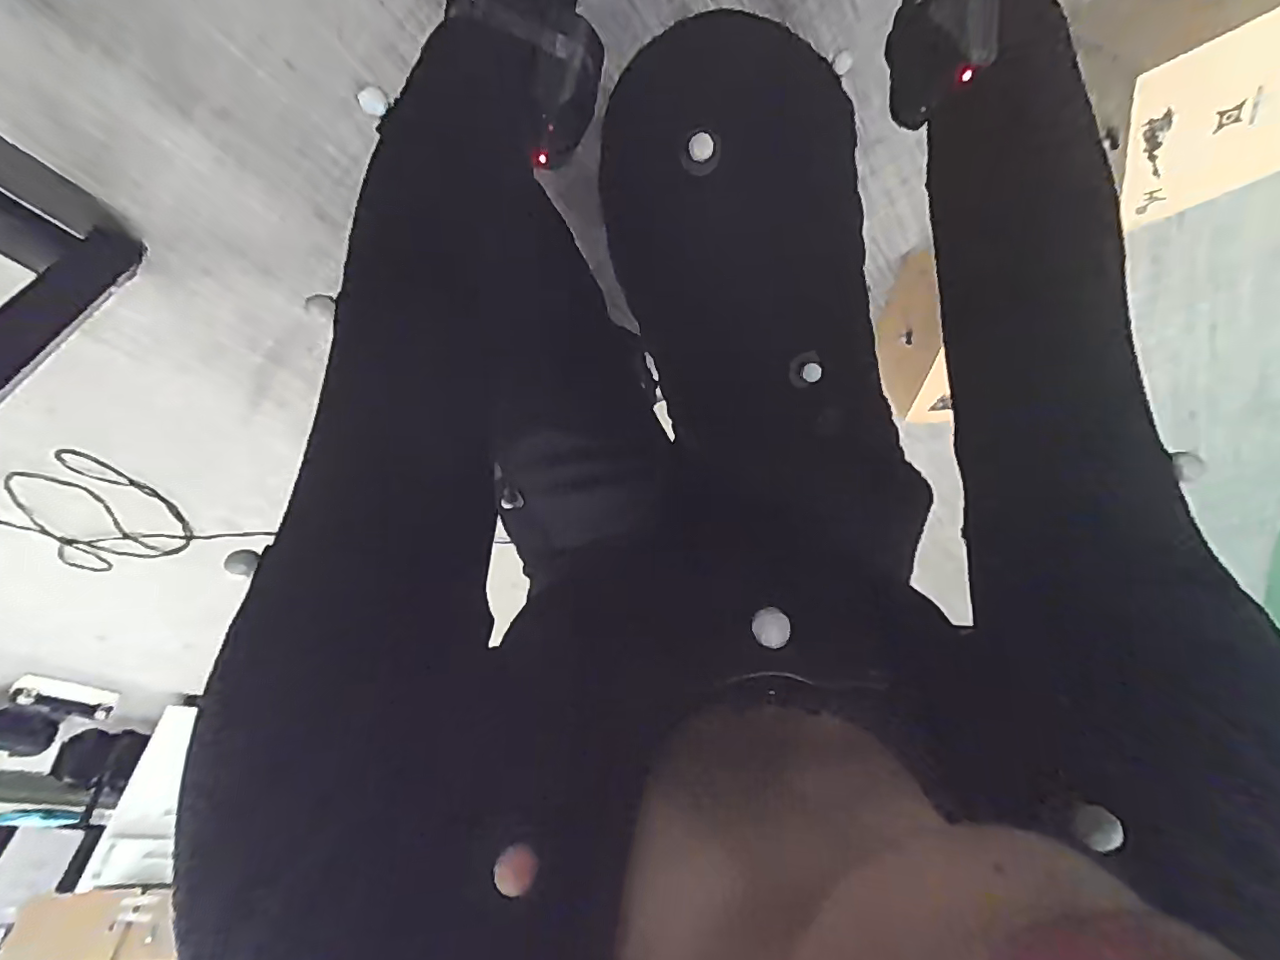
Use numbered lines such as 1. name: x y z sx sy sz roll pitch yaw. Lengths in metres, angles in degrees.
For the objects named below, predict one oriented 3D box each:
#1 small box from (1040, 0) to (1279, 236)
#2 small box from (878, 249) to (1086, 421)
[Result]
1. small box: 0.539 -0.392 0.535 0.179 0.176 0.168 -21 138 22
2. small box: 0.459 -0.203 0.766 0.168 0.176 0.179 -1 140 0
